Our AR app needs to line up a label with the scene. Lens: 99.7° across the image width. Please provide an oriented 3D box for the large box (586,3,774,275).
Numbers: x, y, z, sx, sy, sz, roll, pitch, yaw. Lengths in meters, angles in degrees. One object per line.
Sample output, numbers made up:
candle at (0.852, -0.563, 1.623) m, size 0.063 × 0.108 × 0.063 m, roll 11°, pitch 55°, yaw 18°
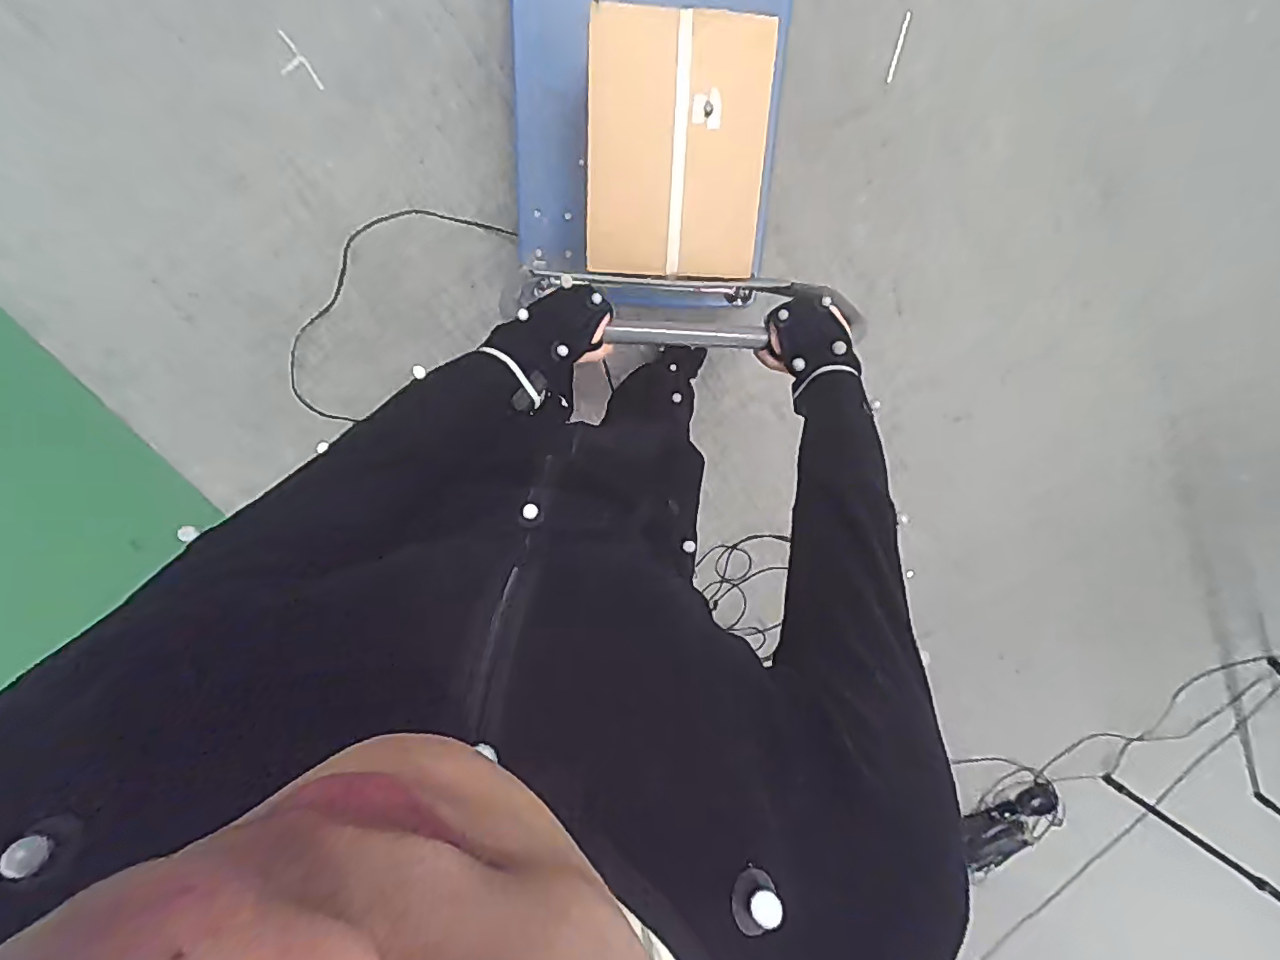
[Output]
large box at (0.052, -0.626, 1.082) m, size 0.320 × 0.320 × 0.408 m, roll 0°, pitch 111°, yaw -6°
